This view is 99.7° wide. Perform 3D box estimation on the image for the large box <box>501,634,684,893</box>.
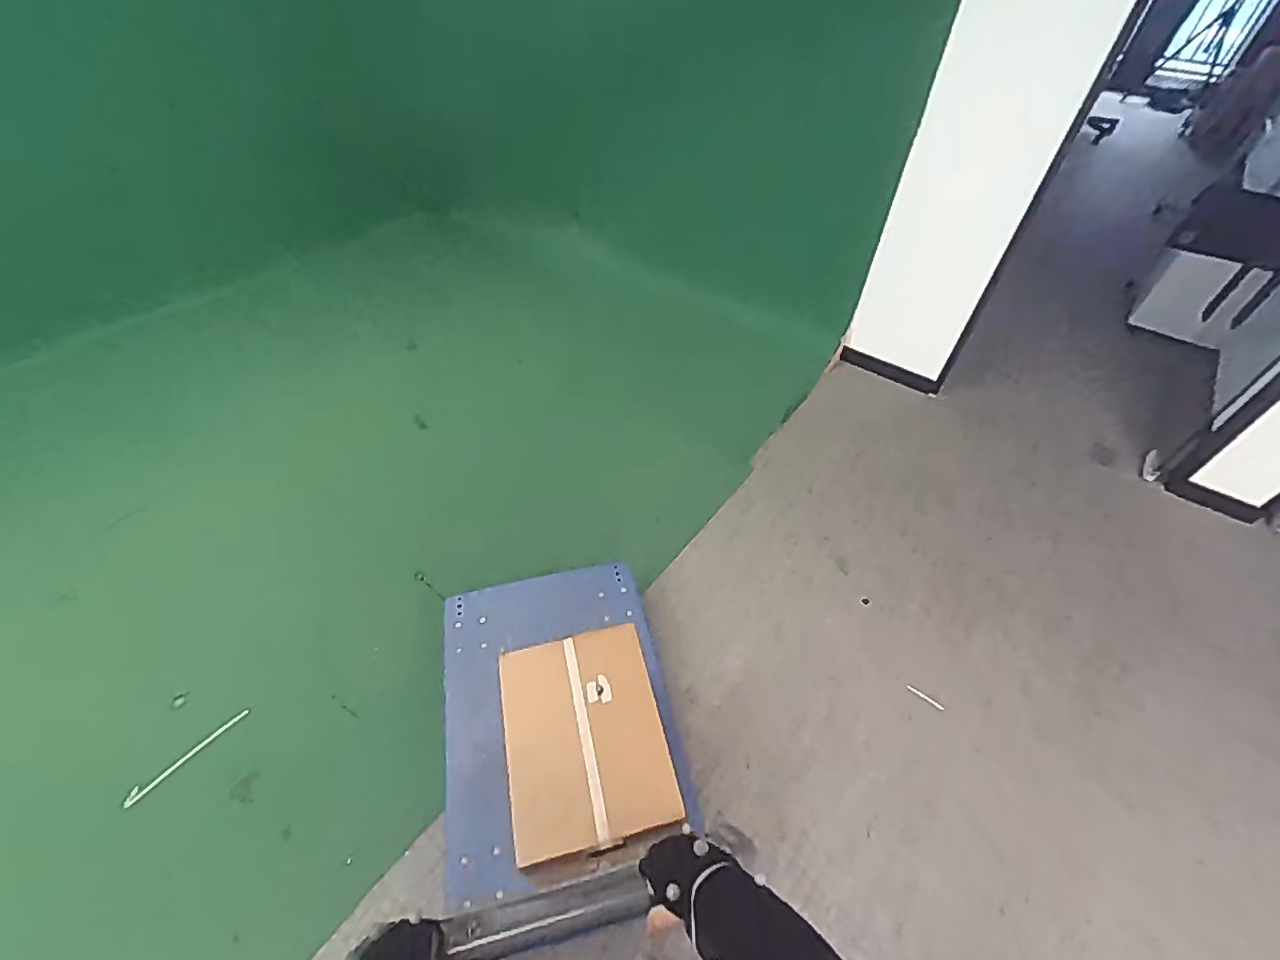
[{"bbox_3d":[-0.113,0.628,1.218,0.320,0.320,0.408,-10,48,-10],"label":"large box"}]
